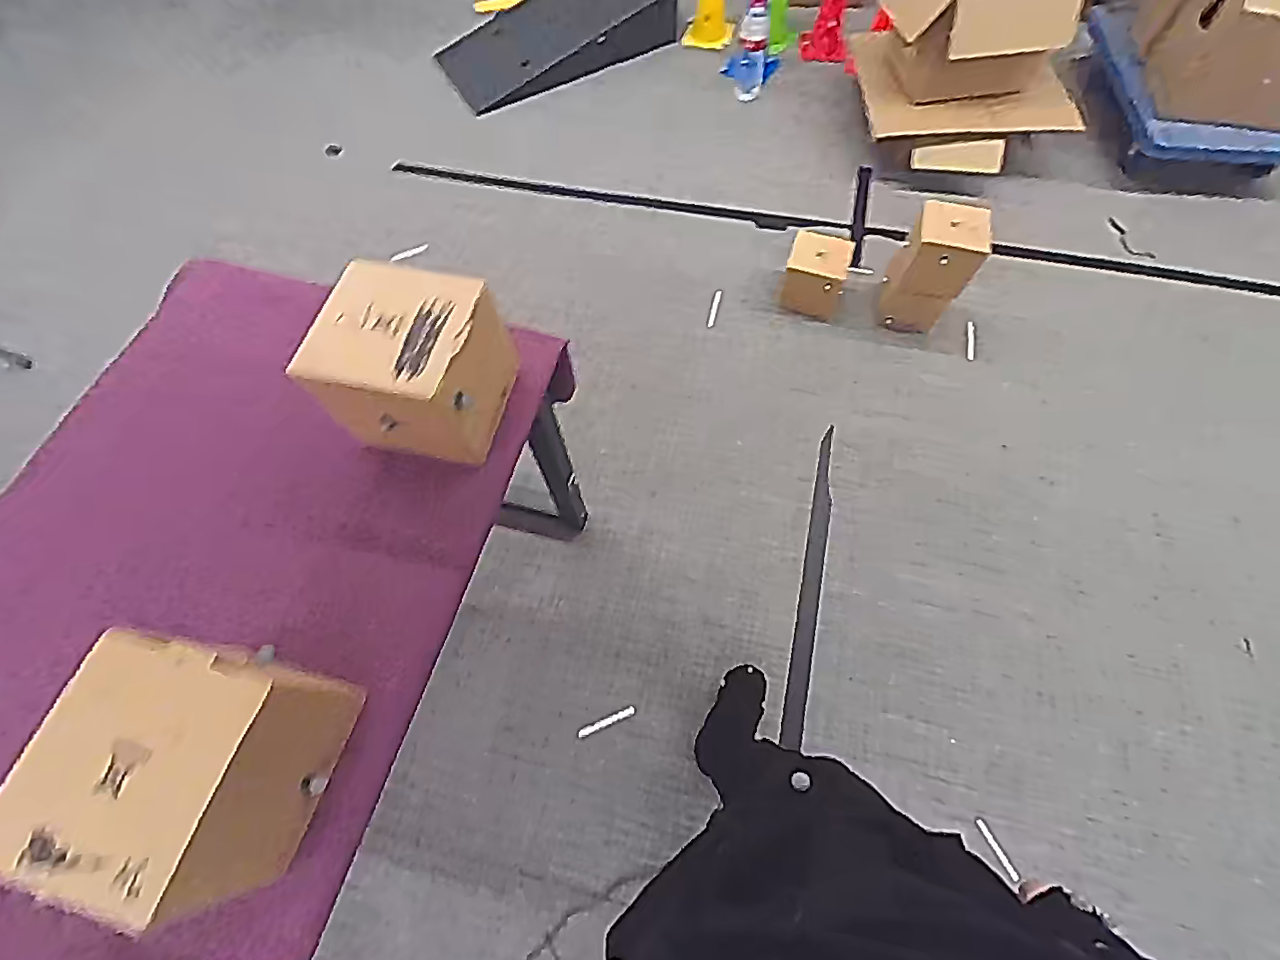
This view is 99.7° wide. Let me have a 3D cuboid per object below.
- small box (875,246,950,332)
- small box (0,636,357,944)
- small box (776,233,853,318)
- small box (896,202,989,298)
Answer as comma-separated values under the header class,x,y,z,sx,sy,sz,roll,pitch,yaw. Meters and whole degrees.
class,x,y,z,sx,sy,sz,roll,pitch,yaw
small box,0.839,-0.584,1.665,0.168,0.176,0.179,12,65,6
small box,-0.395,0.262,0.492,0.168,0.176,0.179,14,66,7
small box,0.541,-0.636,1.695,0.179,0.176,0.168,18,66,9
small box,0.837,-0.636,1.507,0.179,0.176,0.168,14,67,6
